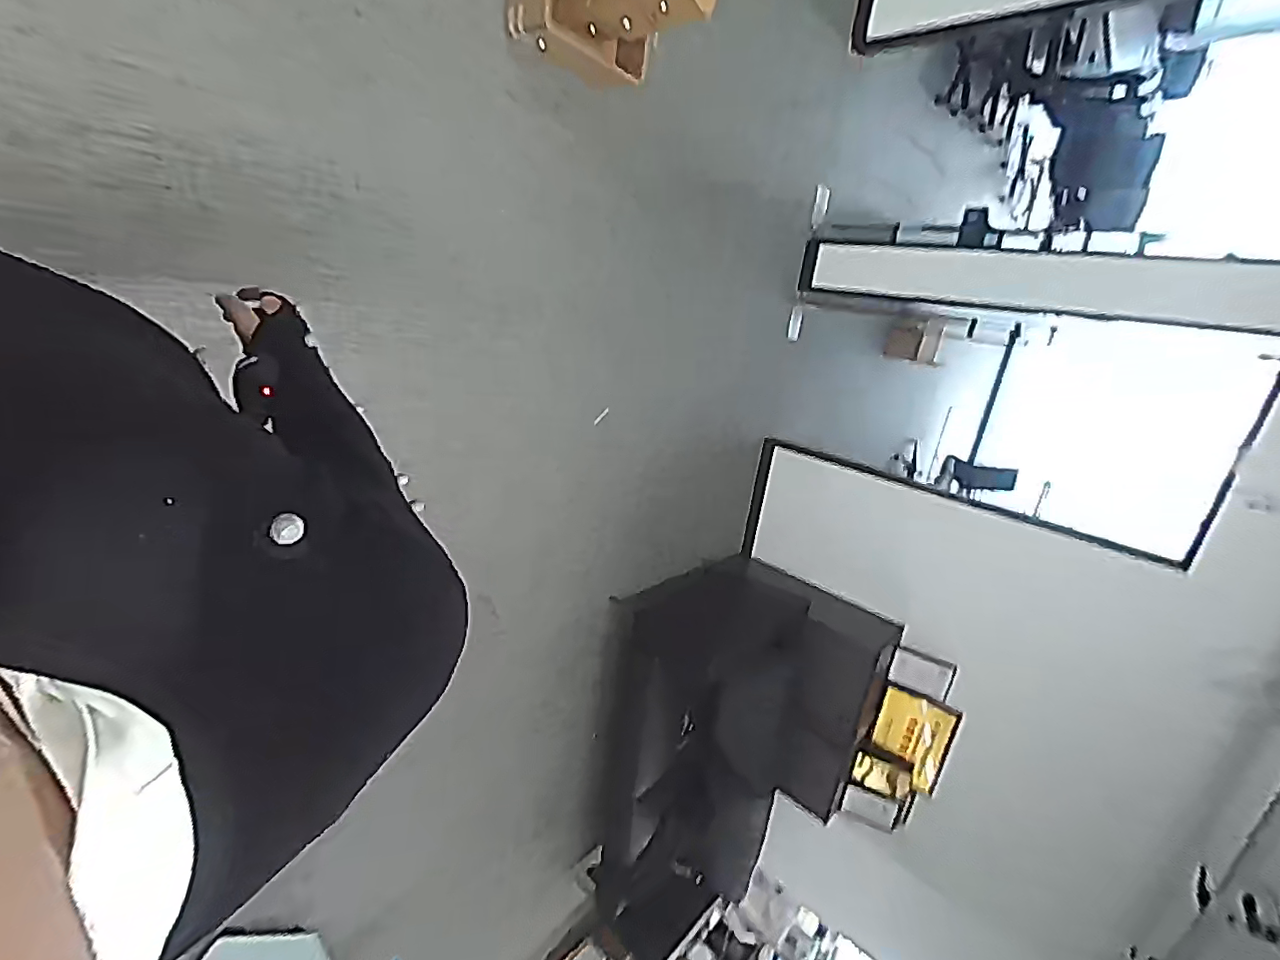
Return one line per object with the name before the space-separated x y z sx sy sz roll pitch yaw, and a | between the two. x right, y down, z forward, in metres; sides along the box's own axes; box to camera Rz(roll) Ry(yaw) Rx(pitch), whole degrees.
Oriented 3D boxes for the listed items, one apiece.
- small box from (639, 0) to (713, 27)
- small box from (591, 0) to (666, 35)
small box | 0.088 -1.300 1.364 0.168 0.176 0.179 5 104 -50
small box | -0.019 -1.363 1.475 0.168 0.176 0.179 -6 113 -47
